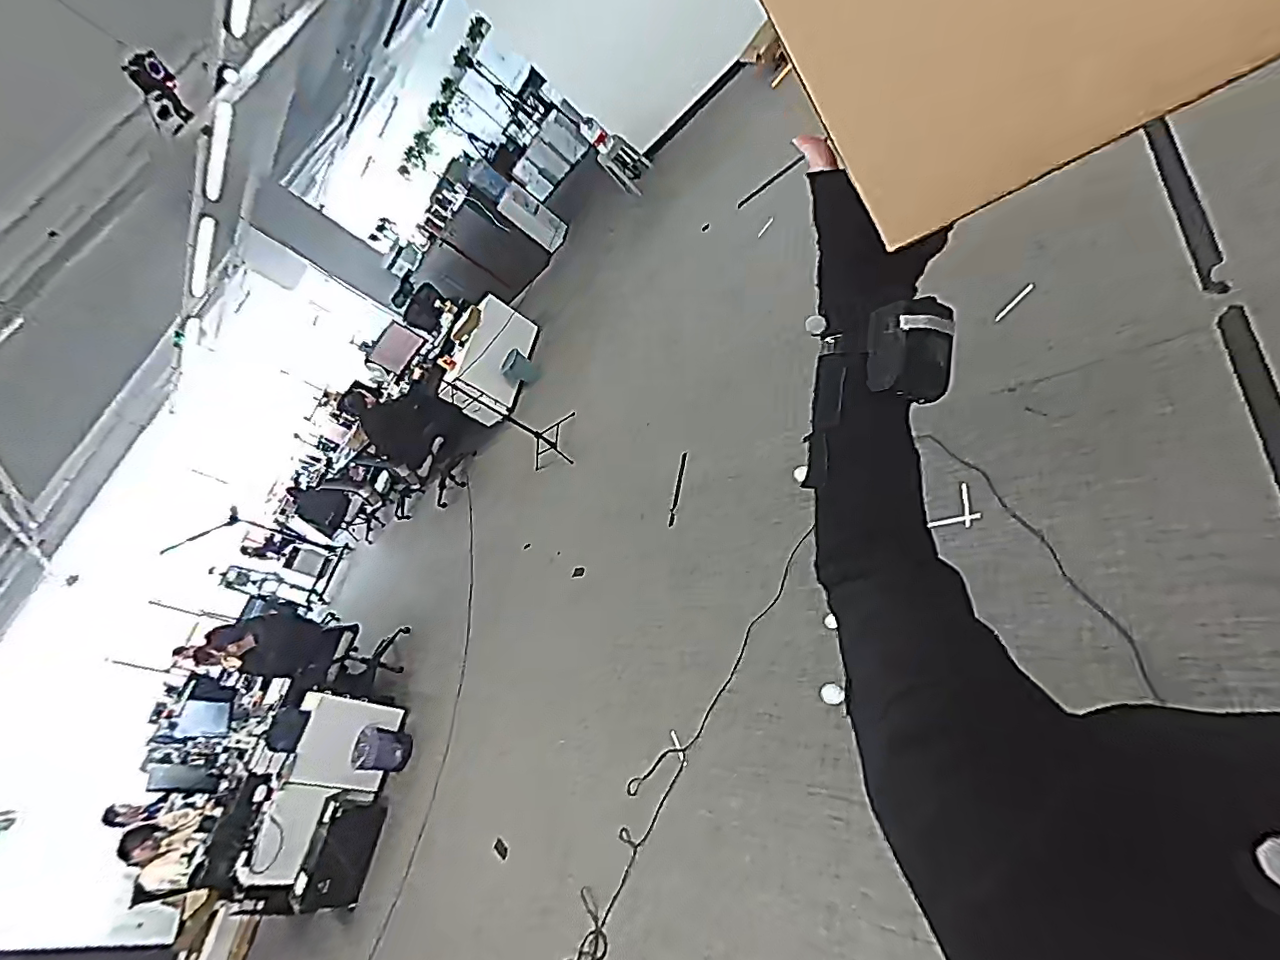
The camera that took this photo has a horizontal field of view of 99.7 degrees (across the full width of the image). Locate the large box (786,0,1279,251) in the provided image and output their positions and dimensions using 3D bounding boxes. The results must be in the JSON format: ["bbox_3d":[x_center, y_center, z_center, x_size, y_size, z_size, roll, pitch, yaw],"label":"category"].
[{"bbox_3d":[0.254,-0.337,0.138,0.320,0.320,0.408,-37,9,-7],"label":"large box"}]
